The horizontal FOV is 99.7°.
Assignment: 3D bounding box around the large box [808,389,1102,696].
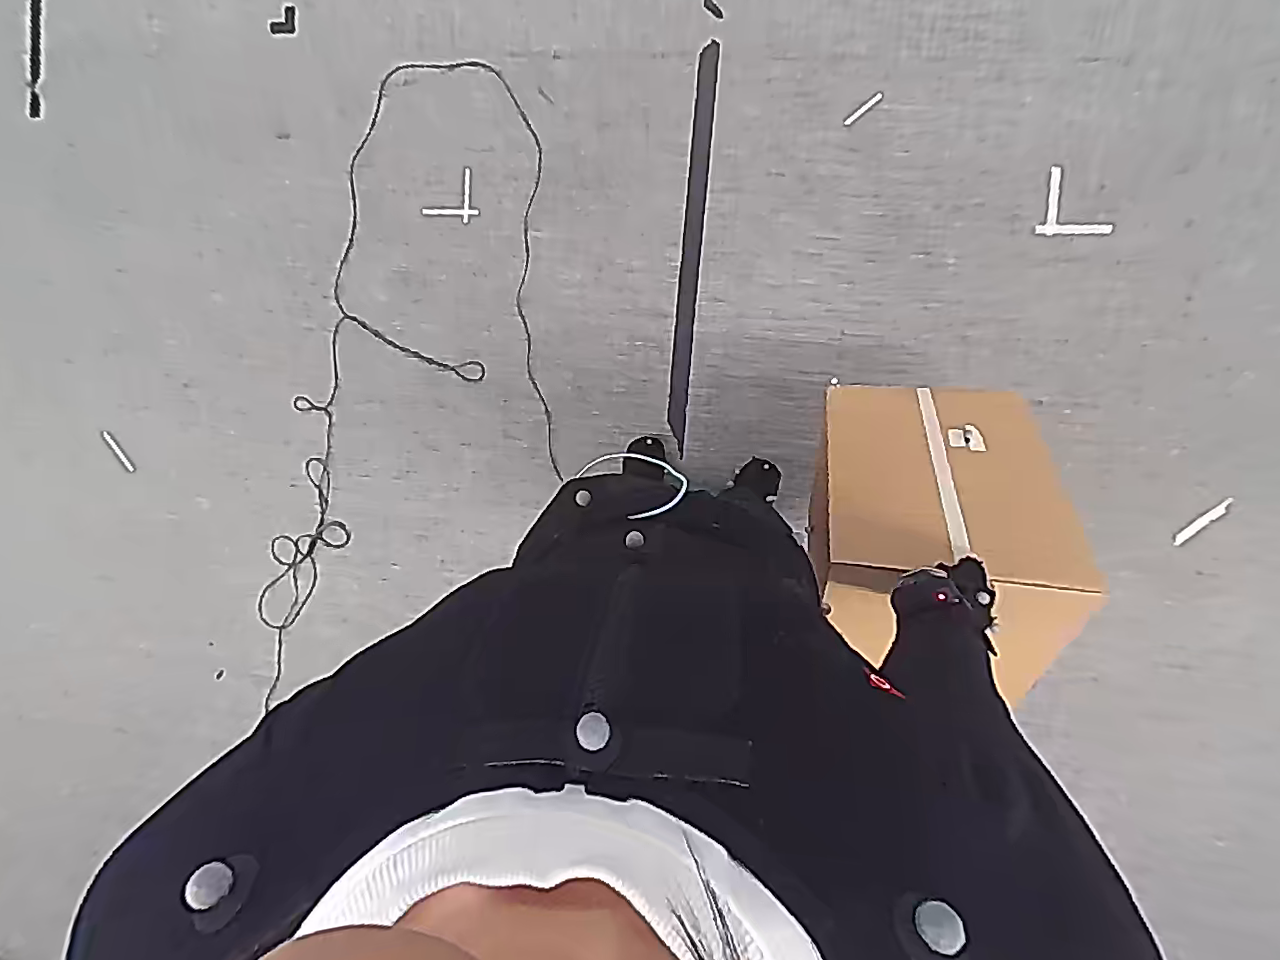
[{"bbox_3d":[0.459,0.091,0.912,0.320,0.408,0.320,6,134,12],"label":"large box"}]
